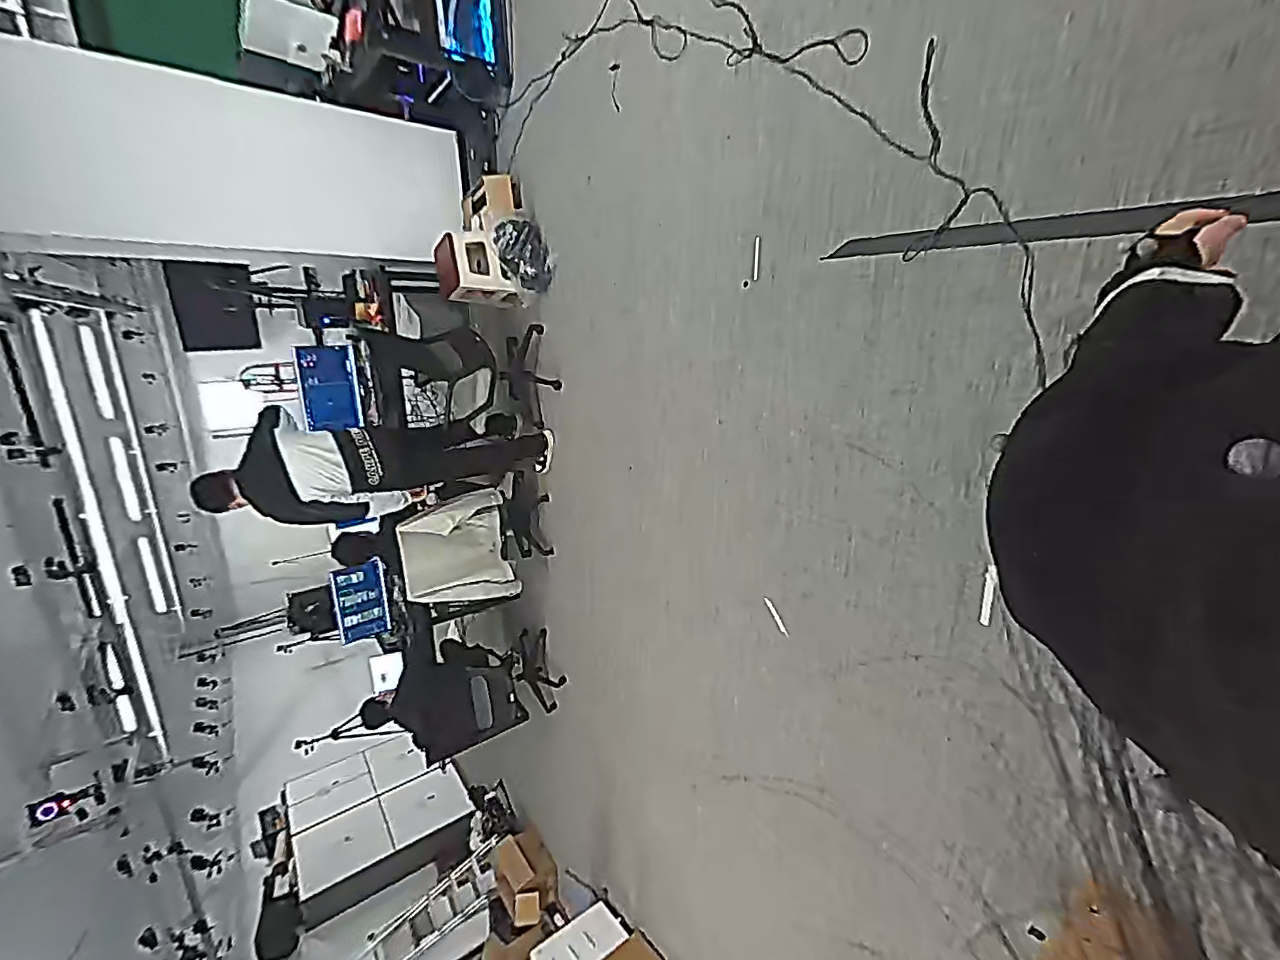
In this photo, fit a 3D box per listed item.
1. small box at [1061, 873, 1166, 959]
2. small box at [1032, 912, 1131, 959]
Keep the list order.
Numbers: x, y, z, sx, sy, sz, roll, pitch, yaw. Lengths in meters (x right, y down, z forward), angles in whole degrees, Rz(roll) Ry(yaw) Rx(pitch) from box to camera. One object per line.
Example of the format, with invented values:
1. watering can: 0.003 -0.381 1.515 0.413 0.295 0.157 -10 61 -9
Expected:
1. small box: 1.133 1.113 1.307 0.168 0.176 0.179 15 113 53
2. small box: 0.998 1.141 1.217 0.168 0.176 0.179 16 113 52
